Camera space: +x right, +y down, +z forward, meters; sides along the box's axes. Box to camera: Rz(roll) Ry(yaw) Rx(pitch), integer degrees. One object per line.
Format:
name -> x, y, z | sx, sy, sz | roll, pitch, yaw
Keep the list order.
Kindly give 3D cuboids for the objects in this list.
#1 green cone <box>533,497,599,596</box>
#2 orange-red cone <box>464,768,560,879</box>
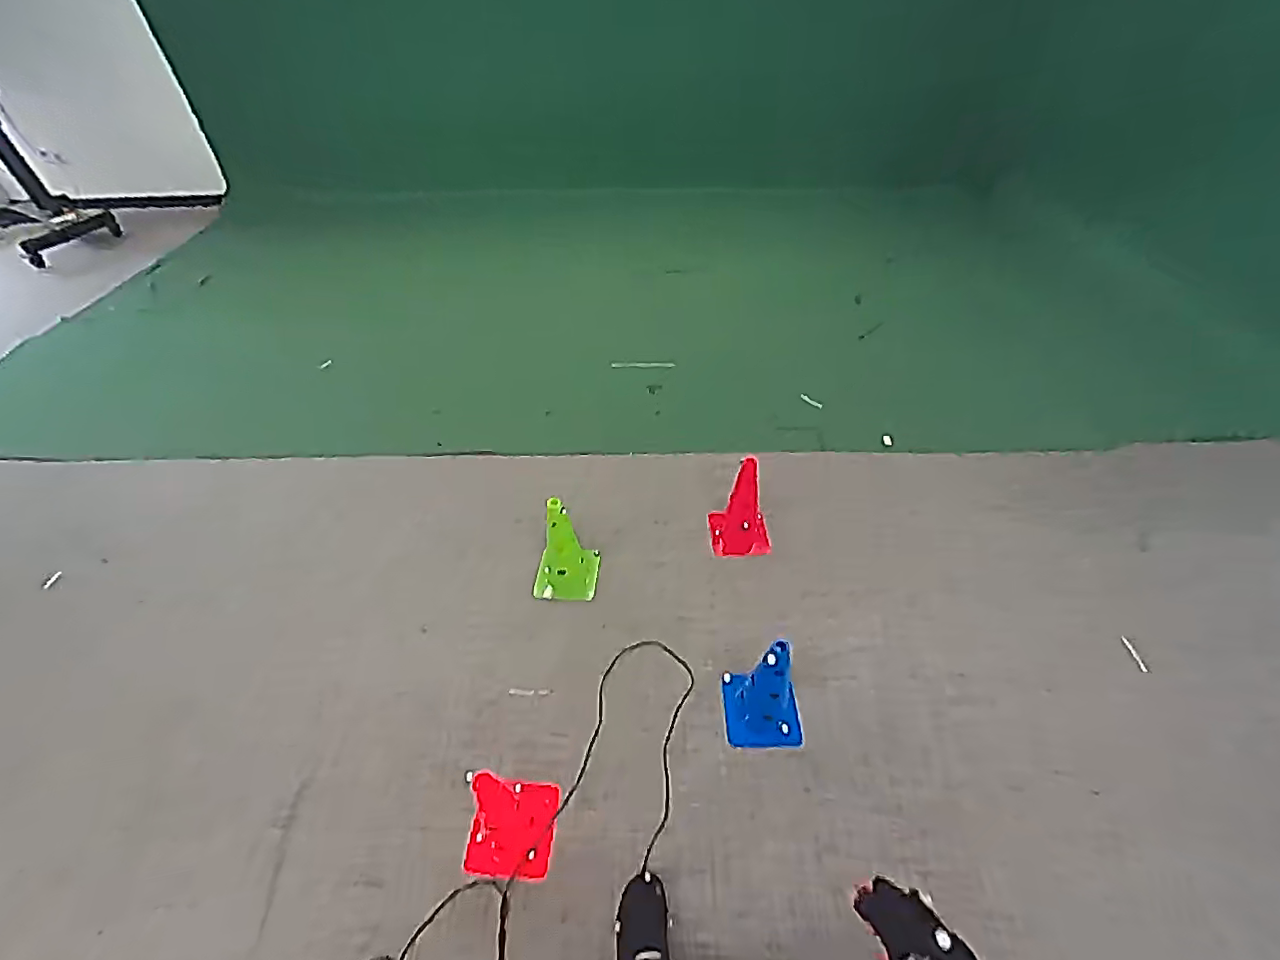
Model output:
green cone -> -0.249, 0.181, 1.684 | 0.200, 0.368, 0.202 | 1, 46, 3
orange-red cone -> -0.303, 0.703, 1.173 | 0.198, 0.360, 0.199 | 4, 44, 4
